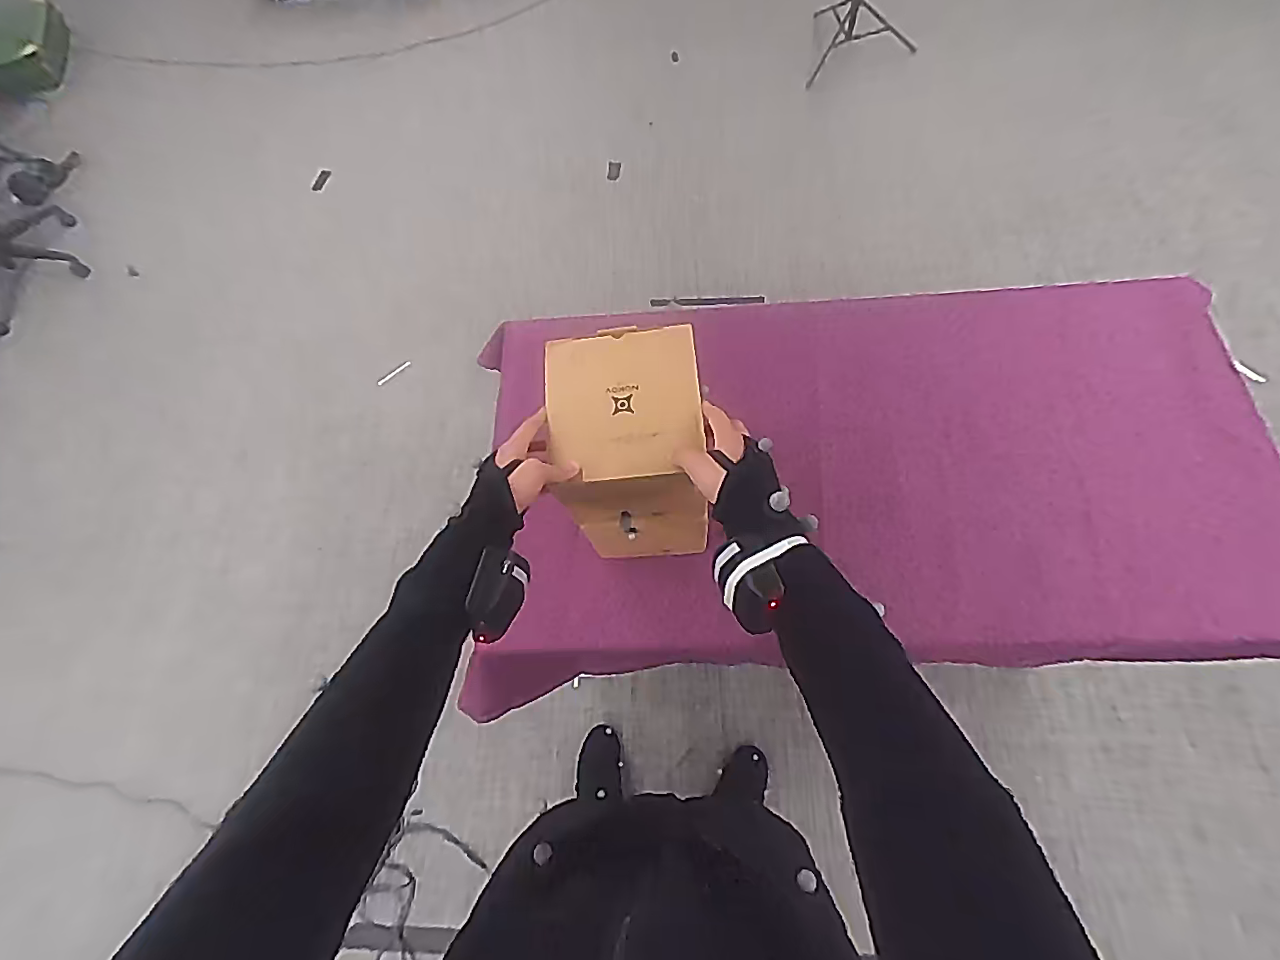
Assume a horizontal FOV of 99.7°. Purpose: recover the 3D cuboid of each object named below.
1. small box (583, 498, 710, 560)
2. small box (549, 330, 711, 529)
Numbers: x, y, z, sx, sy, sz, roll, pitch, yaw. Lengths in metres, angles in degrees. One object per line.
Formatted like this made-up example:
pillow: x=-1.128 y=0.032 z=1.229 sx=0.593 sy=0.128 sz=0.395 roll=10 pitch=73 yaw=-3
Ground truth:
small box: x=0.013 y=0.010 z=0.795 sx=0.168 sy=0.176 sz=0.179 roll=-3 pitch=67 yaw=4
small box: x=-0.008 y=-0.051 z=0.644 sx=0.168 sy=0.176 sz=0.179 roll=-5 pitch=70 yaw=4
